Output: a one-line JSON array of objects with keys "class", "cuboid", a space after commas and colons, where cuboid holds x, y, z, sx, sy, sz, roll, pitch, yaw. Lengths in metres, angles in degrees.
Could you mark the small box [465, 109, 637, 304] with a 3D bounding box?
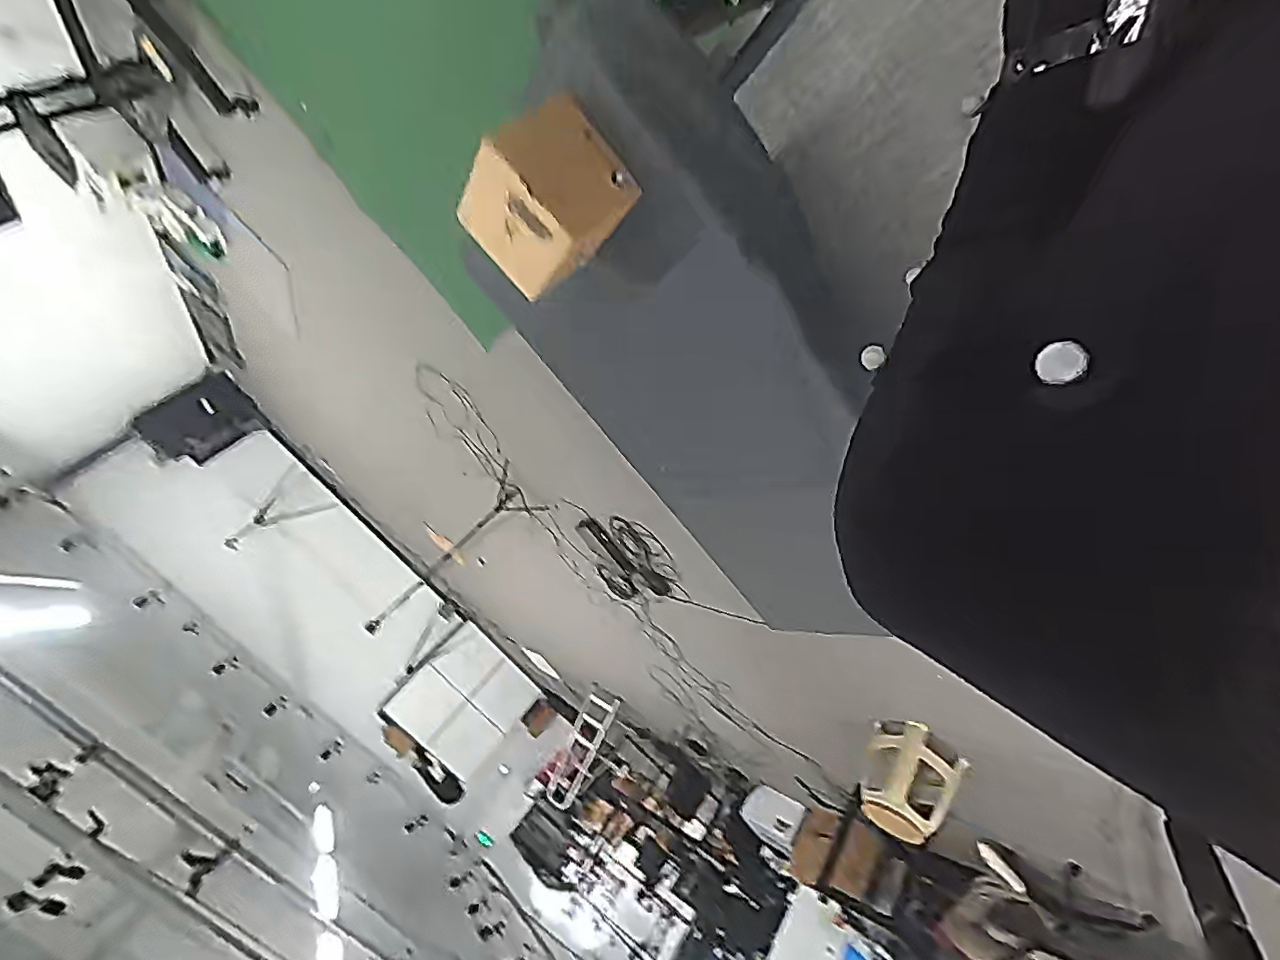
[{"class": "small box", "cuboid": [-0.130, -0.412, 0.821, 0.168, 0.176, 0.179, 48, 151, -13]}]
